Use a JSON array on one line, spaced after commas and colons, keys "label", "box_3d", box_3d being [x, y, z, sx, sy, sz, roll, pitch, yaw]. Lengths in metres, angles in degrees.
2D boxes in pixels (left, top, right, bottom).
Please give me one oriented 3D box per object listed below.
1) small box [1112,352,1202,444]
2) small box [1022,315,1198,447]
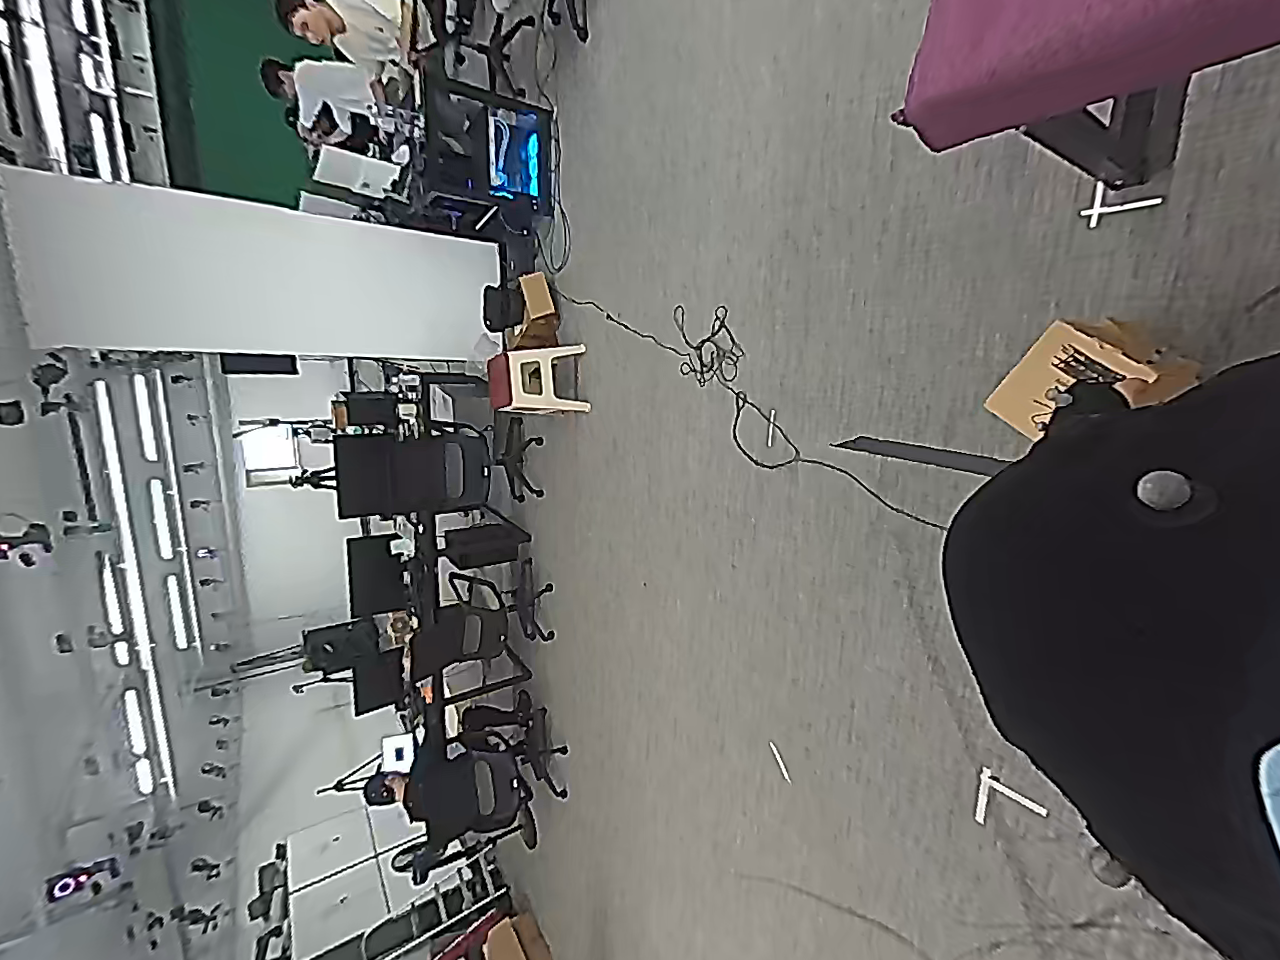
[{"label": "small box", "box_3d": [0.999, -0.191, 1.120, 0.168, 0.176, 0.179, 47, 132, 41]}, {"label": "small box", "box_3d": [0.877, -0.181, 1.008, 0.179, 0.176, 0.168, -53, 52, 45]}]
